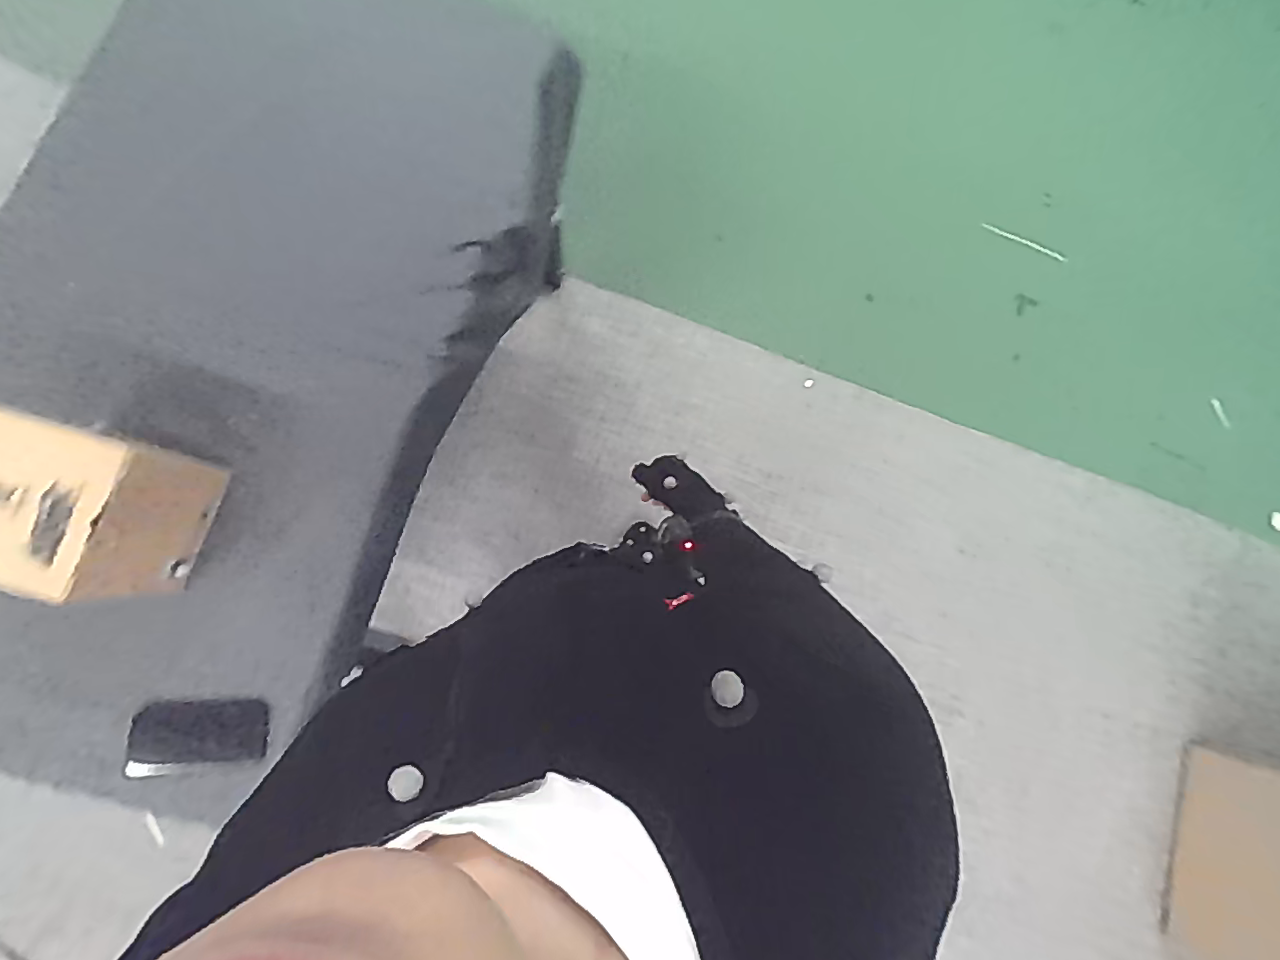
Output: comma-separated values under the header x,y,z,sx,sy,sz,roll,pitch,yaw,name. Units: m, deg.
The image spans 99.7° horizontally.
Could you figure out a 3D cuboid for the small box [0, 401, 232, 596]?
x,y,z,sx,sy,sz,roll,pitch,yaw,name
-0.630,0.024,0.626,0.179,0.176,0.168,17,81,-3,small box
